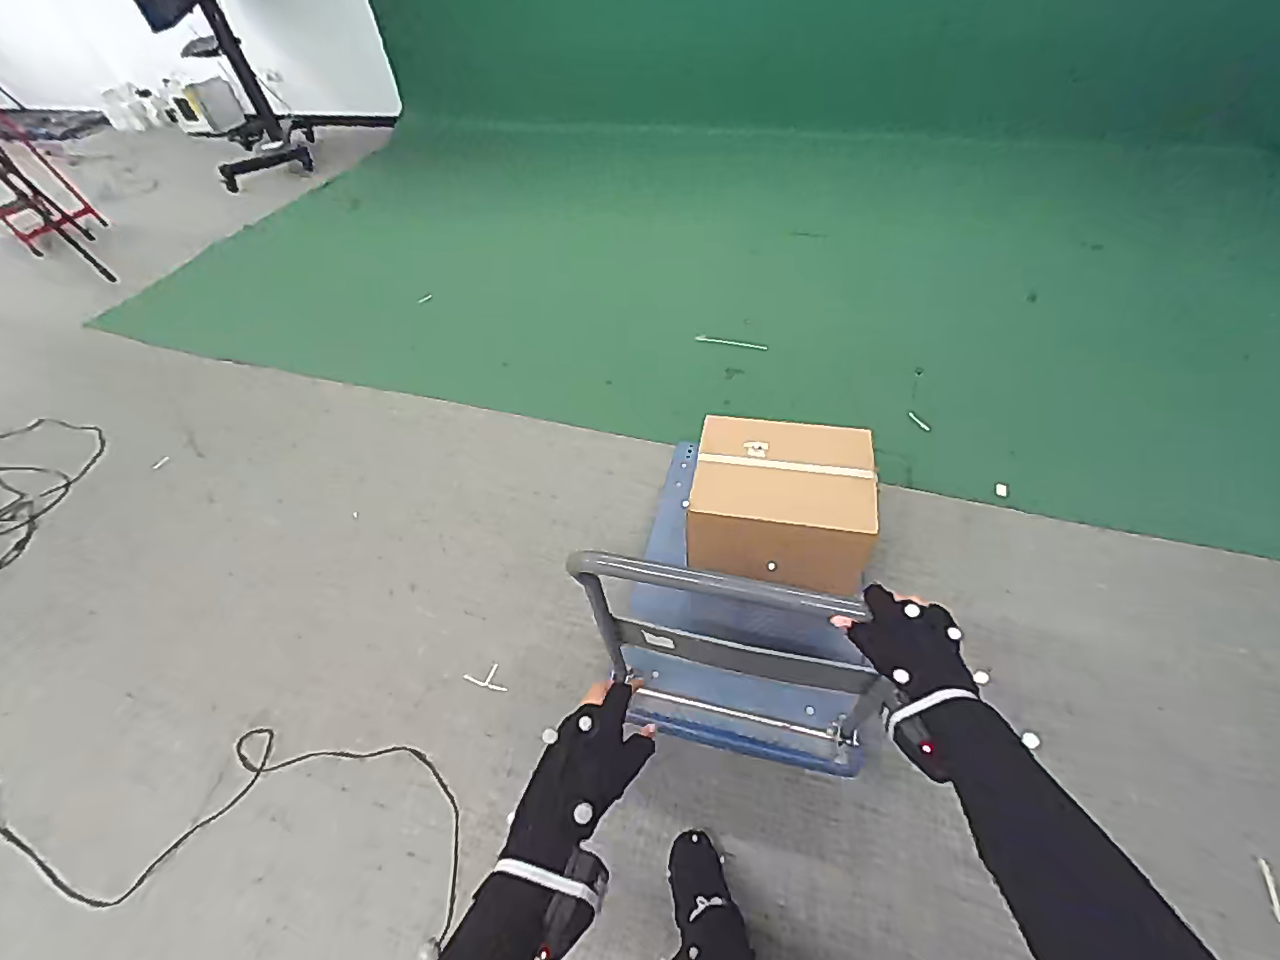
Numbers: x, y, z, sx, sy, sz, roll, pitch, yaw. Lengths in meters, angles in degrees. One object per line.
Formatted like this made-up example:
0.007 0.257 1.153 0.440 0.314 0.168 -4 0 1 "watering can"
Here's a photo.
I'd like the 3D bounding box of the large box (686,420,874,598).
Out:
0.343 0.073 1.370 0.408 0.320 0.320 6 50 13 "large box"
